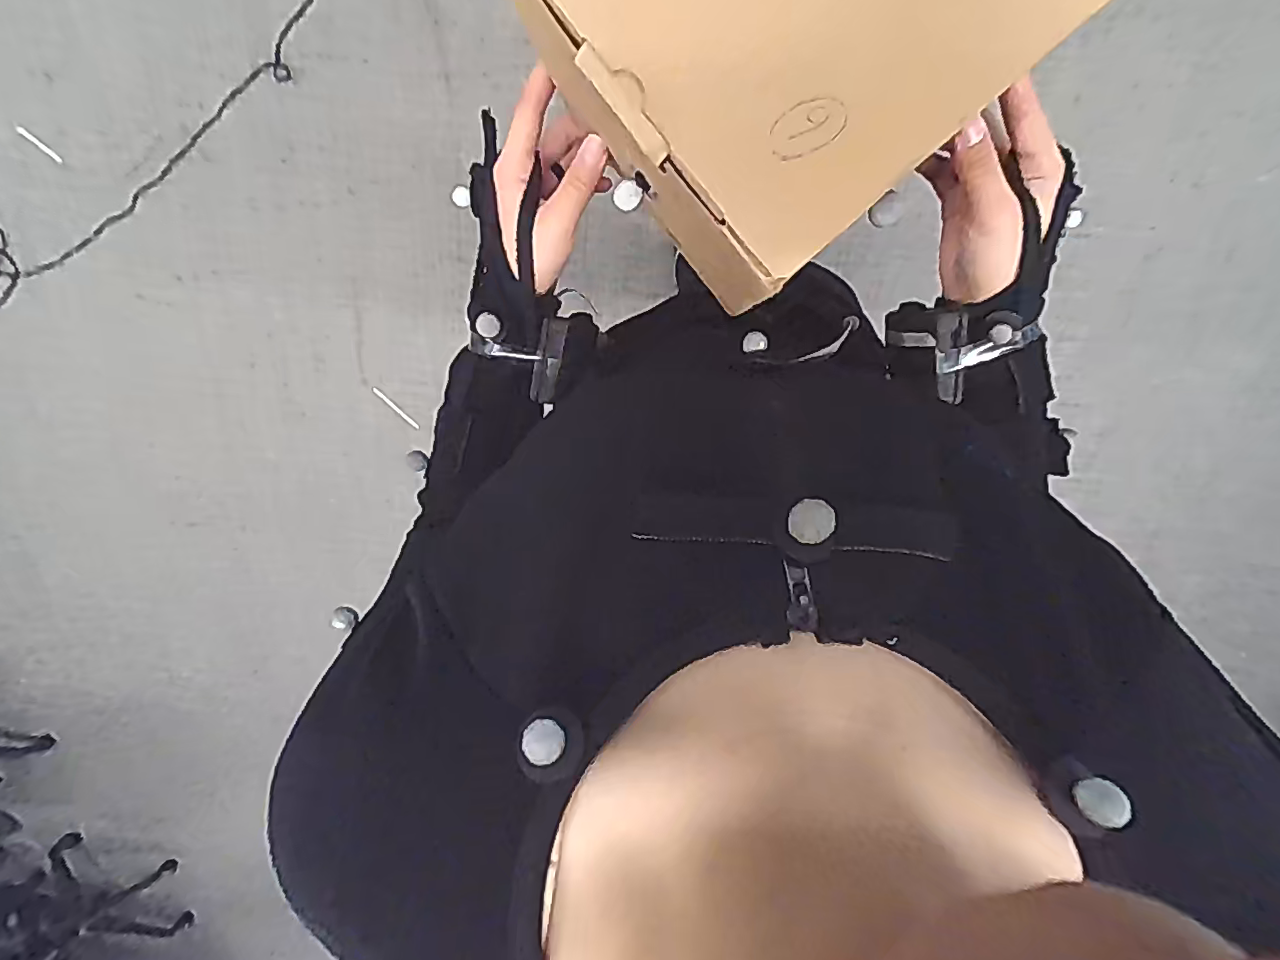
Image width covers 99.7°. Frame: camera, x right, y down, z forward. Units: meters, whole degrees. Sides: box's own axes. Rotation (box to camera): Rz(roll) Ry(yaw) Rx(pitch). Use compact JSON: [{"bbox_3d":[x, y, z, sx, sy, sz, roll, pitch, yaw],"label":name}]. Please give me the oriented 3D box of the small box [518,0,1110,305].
[{"bbox_3d":[0.067,-0.200,0.243,0.179,0.176,0.168,-39,97,13],"label":"small box"}]
